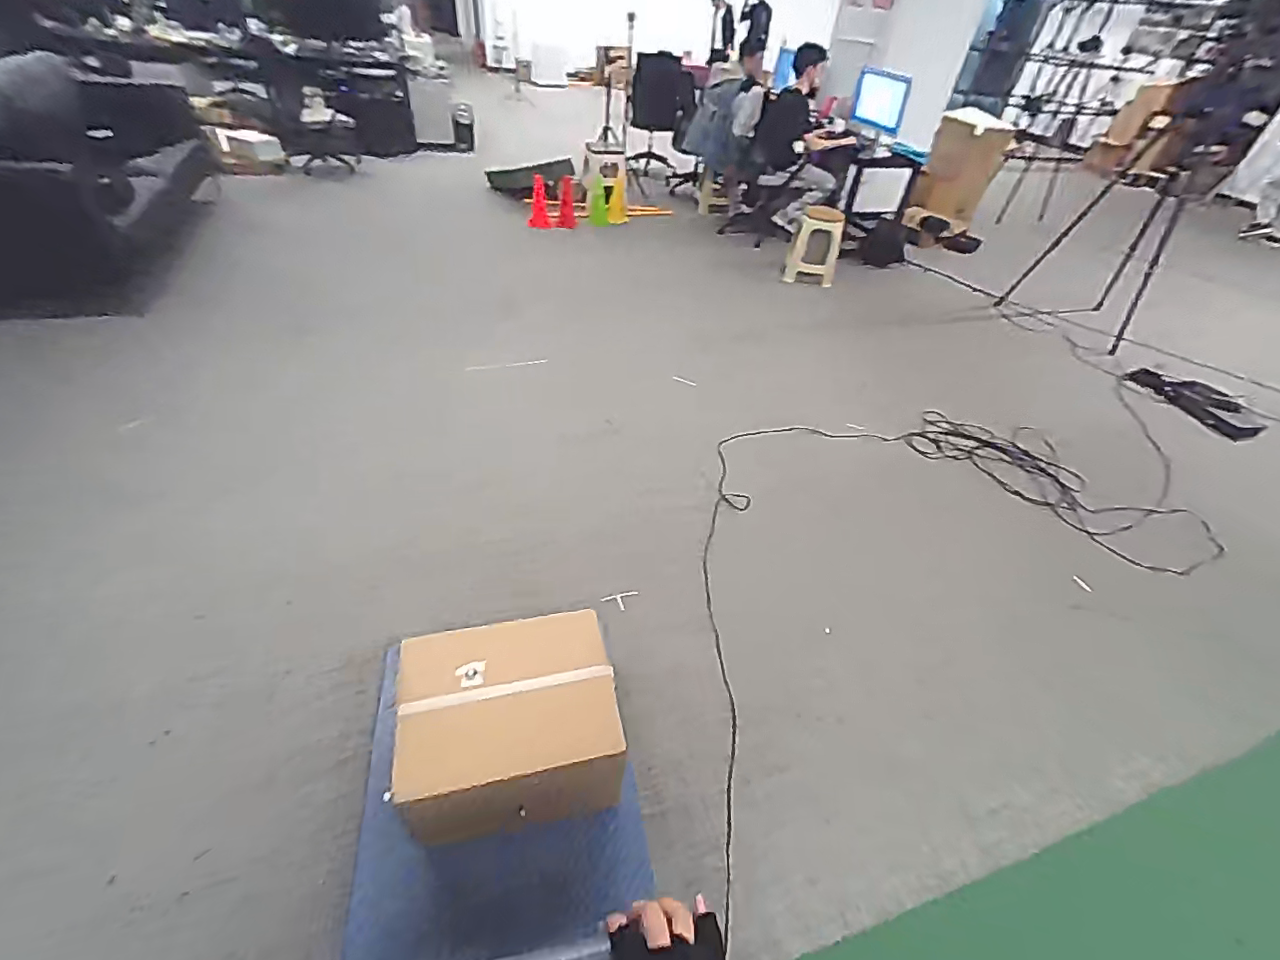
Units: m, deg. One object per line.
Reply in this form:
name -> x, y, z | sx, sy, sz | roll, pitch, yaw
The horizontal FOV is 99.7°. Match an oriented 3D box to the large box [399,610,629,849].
large box -> -0.258, 0.521, 1.147 | 0.408, 0.320, 0.320 | -6, 43, -13
